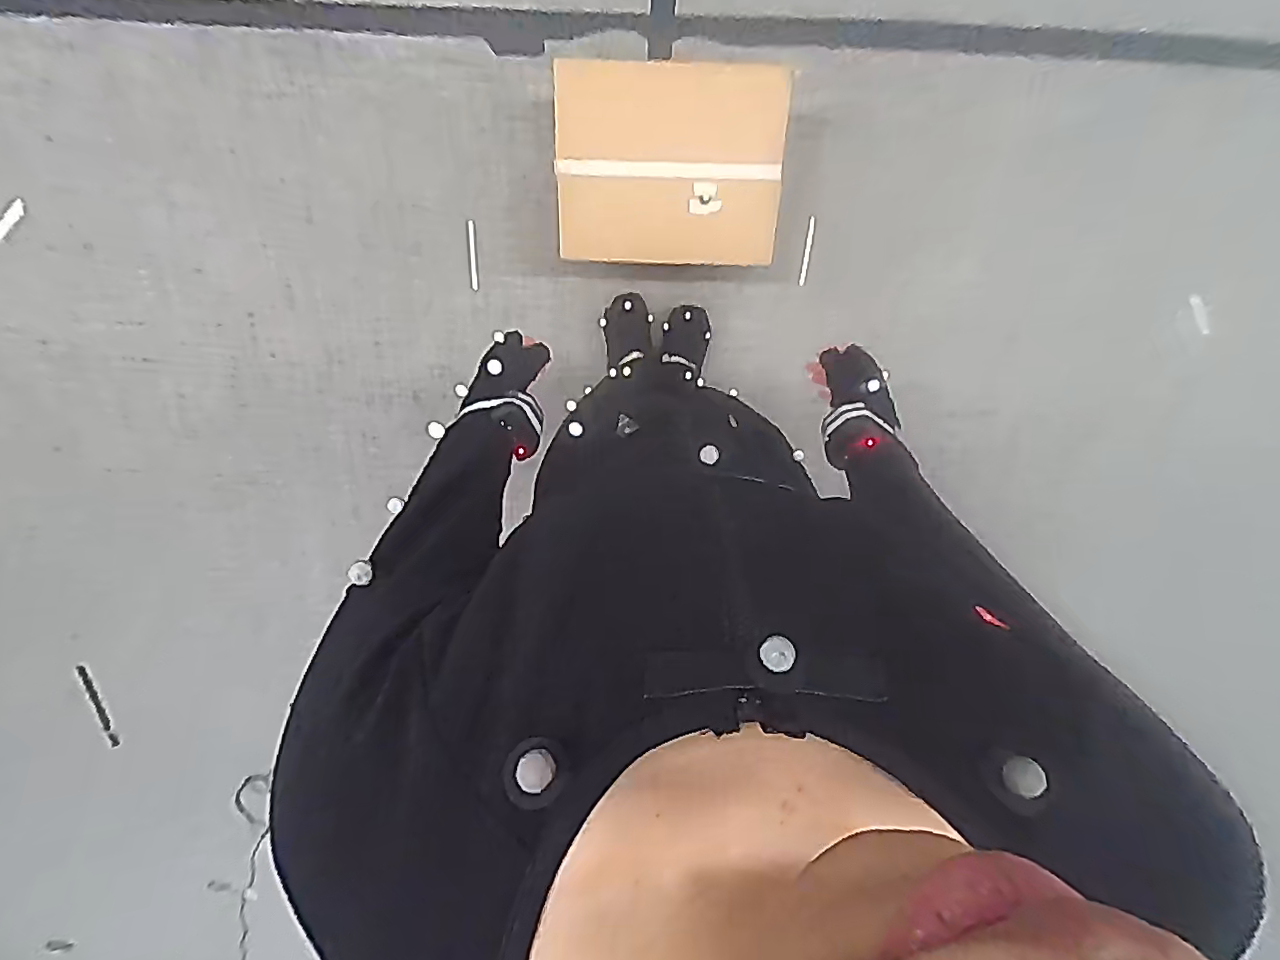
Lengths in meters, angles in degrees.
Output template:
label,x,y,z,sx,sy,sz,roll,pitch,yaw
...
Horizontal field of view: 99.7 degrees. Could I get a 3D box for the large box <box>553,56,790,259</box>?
label,x,y,z,sx,sy,sz,roll,pitch,yaw
large box,0.047,-0.624,1.097,0.408,0.320,0.320,0,116,-2
